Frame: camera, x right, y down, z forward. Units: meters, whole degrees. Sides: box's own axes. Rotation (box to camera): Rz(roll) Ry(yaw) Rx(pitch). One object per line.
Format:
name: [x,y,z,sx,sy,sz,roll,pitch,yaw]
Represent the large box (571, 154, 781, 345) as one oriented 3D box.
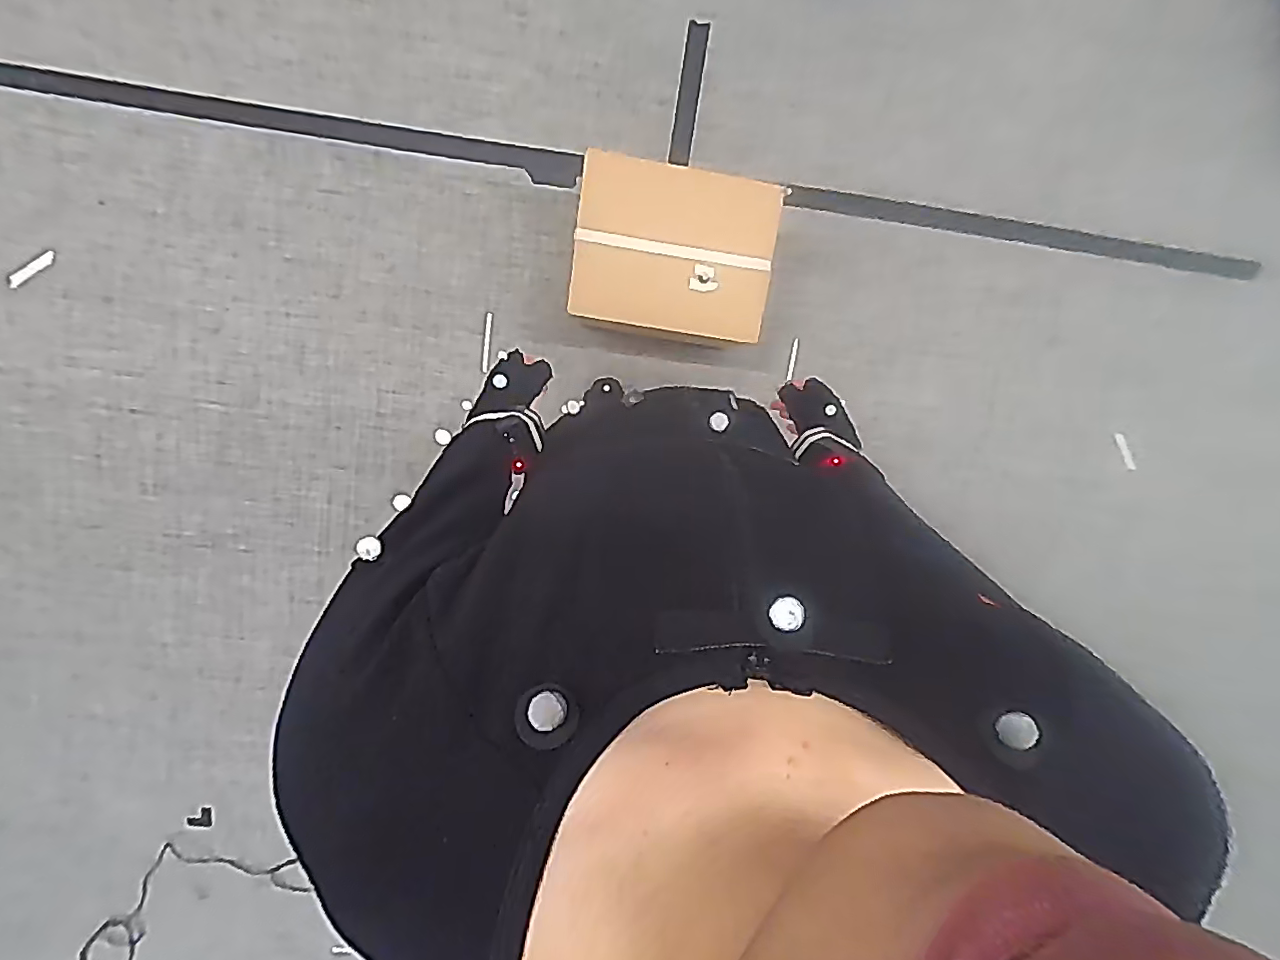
large box: [0.058,-0.497,1.244,0.408,0.320,0.320,7,102,-6]
